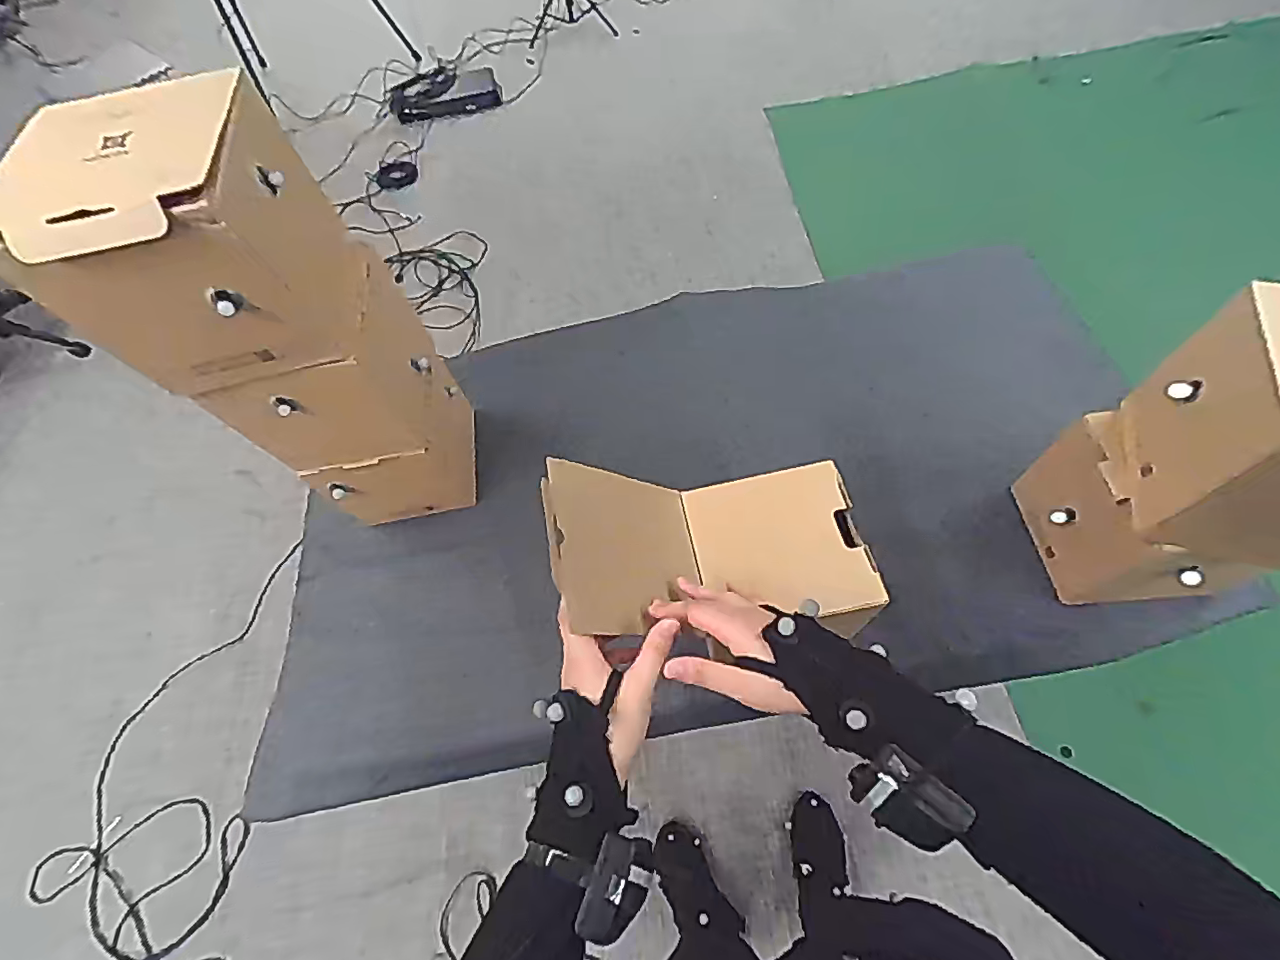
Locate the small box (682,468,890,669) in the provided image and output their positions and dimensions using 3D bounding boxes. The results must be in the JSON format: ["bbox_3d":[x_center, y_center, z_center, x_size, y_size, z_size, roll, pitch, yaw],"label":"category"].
[{"bbox_3d":[0.152,0.110,0.623,0.179,0.176,0.168,-13,61,3],"label":"small box"}]

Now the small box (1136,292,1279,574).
[{"bbox_3d":[0.566,-0.027,0.455,0.179,0.176,0.168,14,63,14],"label":"small box"}]

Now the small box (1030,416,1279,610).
[{"bbox_3d":[0.579,0.040,0.604,0.179,0.176,0.168,-5,60,5],"label":"small box"}]

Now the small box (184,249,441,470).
[{"bbox_3d":[-0.349,-0.126,0.615,0.179,0.176,0.168,-10,64,1],"label":"small box"}]

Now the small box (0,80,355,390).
[{"bbox_3d":[-0.373,-0.197,0.471,0.168,0.176,0.179,-13,62,-2],"label":"small box"}]
